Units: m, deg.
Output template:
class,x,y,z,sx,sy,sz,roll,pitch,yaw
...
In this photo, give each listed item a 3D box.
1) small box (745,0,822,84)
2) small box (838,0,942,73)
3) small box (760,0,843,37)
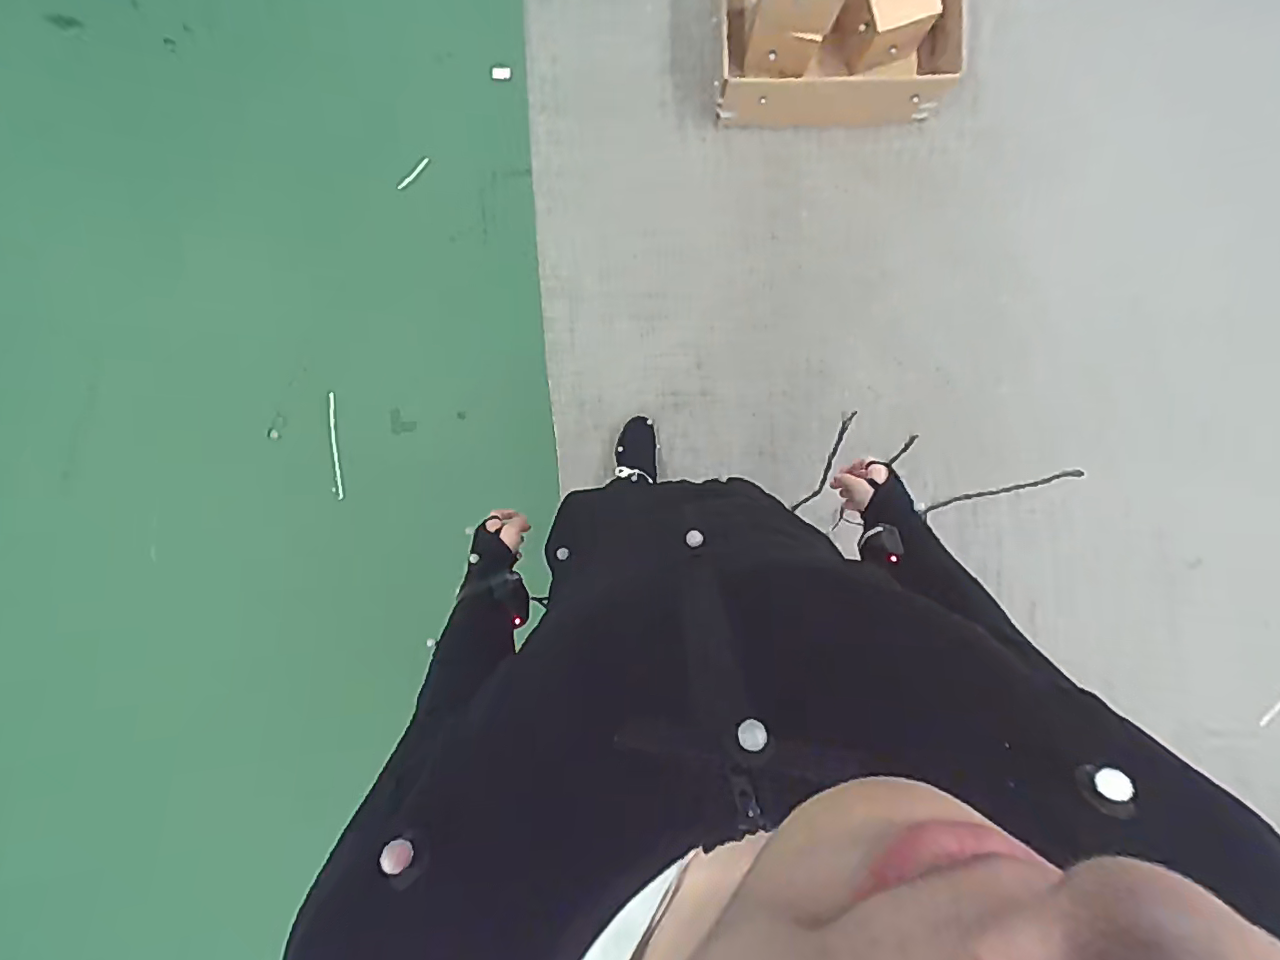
class,x,y,z,sx,sy,sz,roll,pitch,yaw
small box,0.378,-1.174,1.400,0.168,0.176,0.179,9,93,-2
small box,0.639,-1.202,1.398,0.168,0.176,0.179,-18,94,1
small box,0.381,-1.161,1.236,0.179,0.176,0.168,1,94,-2
